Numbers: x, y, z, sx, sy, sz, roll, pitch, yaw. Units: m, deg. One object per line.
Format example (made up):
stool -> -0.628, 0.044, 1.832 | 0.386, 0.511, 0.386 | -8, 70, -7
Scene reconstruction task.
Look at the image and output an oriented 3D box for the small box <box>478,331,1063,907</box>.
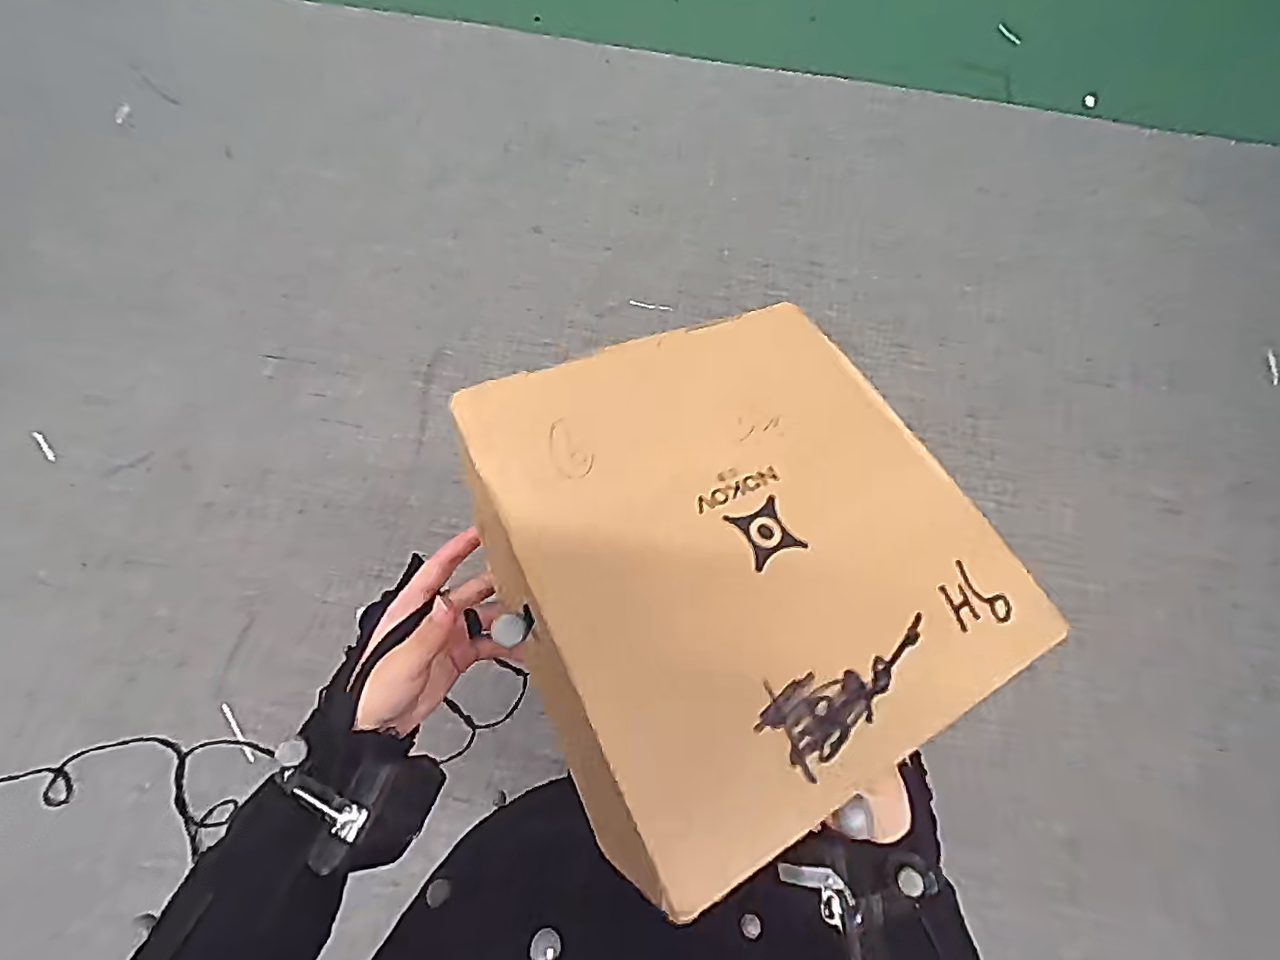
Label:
small box -> 0.034, 0.062, 0.270 | 0.168, 0.176, 0.179 | -22, 65, -21
